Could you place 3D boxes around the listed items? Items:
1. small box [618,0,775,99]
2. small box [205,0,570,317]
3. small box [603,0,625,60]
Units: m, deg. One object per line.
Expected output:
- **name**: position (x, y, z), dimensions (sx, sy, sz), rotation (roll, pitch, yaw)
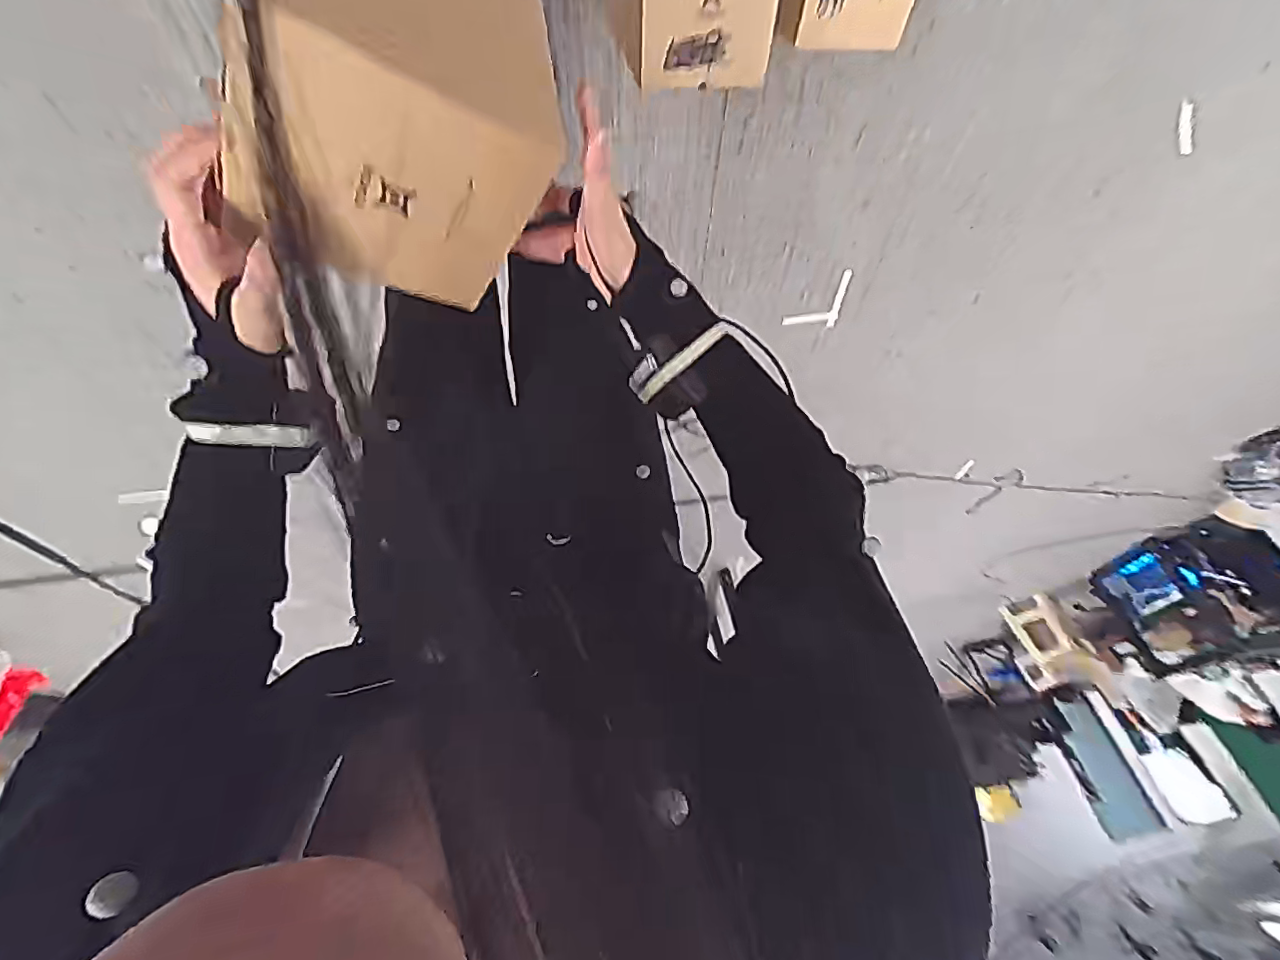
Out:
- **small box**: position (0.065, -0.613, 0.680), dimensions (0.168, 0.176, 0.179), rotation (-7, 143, -7)
- **small box**: position (-0.170, -0.246, 0.365), dimensions (0.179, 0.176, 0.168), rotation (6, 157, -38)
- **small box**: position (0.039, -0.739, 0.783), dimensions (0.168, 0.176, 0.179), rotation (-5, 145, -10)
